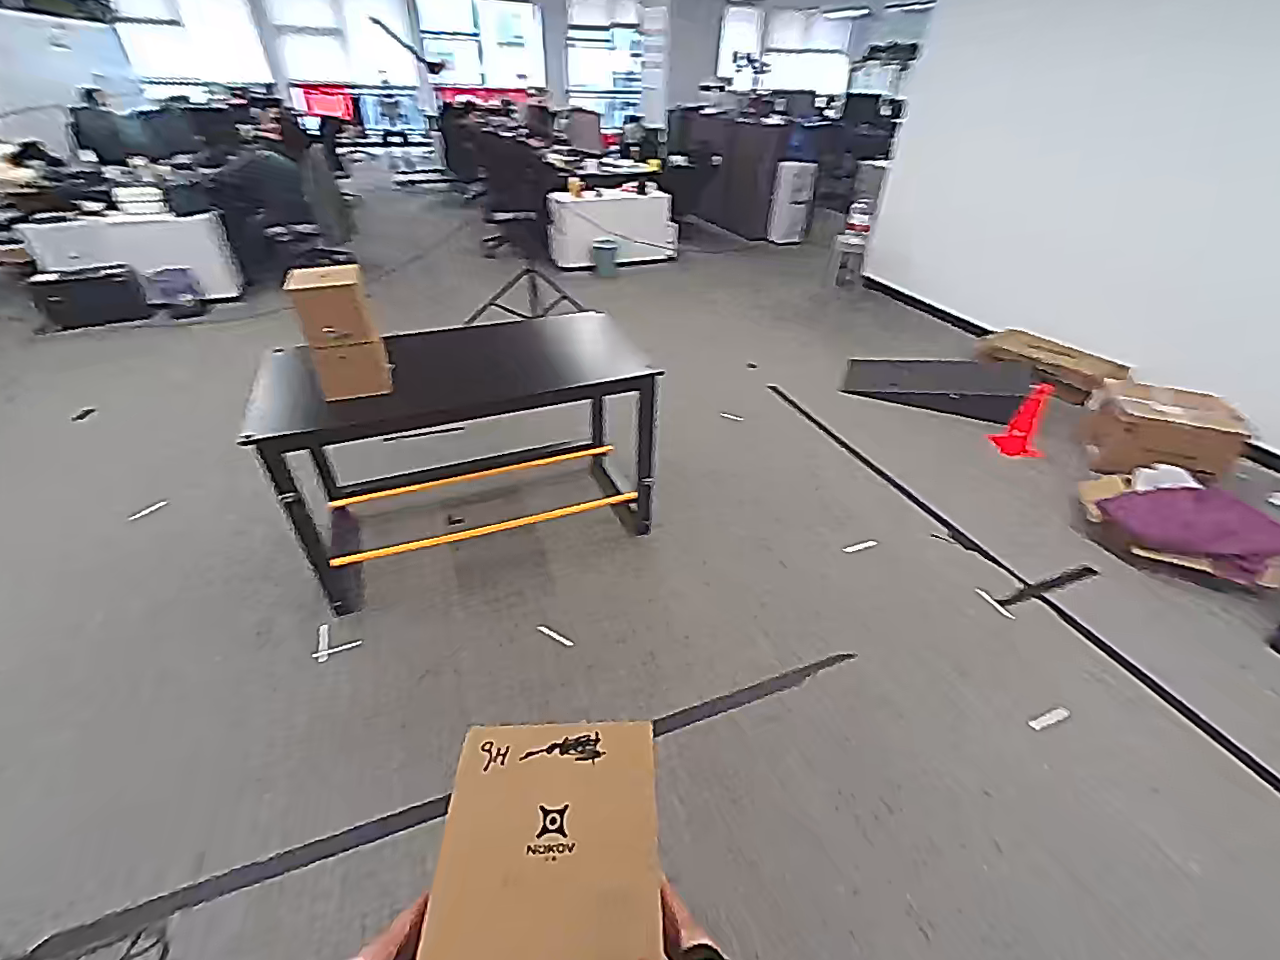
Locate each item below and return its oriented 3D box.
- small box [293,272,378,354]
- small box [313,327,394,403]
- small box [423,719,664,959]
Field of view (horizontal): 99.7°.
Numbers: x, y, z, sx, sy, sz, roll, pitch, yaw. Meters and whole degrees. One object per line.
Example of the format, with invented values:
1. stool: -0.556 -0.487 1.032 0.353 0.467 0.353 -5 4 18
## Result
1. small box: -0.849 -0.471 1.521 0.168 0.176 0.179 -14 40 -17
2. small box: -0.851 -0.342 1.621 0.179 0.176 0.168 -11 39 -18
3. small box: -0.066 0.334 0.466 0.168 0.176 0.179 -2 39 -2
